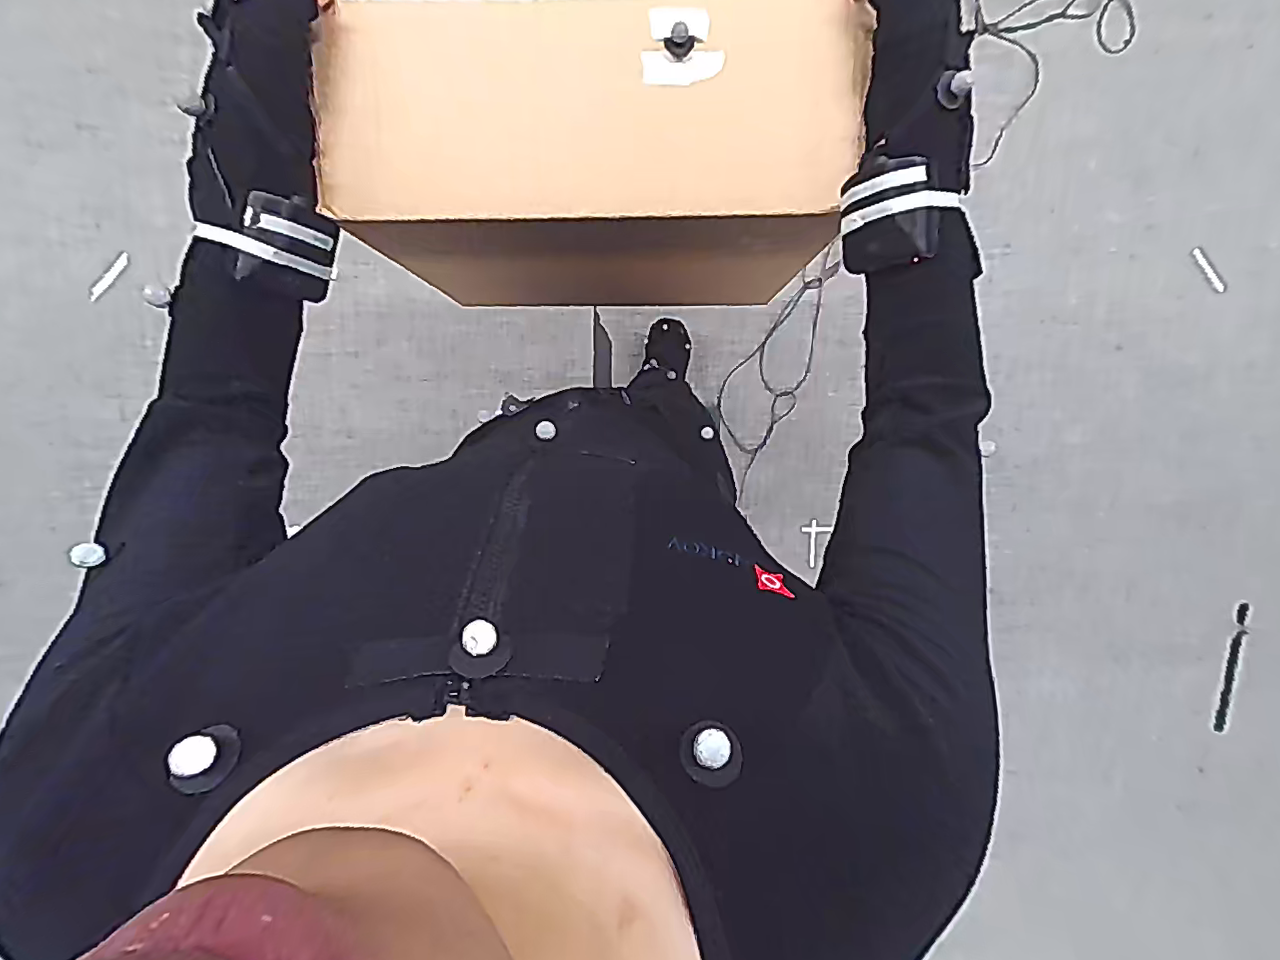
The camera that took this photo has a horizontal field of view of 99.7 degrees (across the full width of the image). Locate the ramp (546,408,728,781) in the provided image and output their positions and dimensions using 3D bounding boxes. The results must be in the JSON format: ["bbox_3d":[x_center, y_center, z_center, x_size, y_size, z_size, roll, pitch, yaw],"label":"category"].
[{"bbox_3d":[-0.010,0.301,1.466,0.509,0.206,0.991,-2,98,2],"label":"ramp"}]

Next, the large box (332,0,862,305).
[{"bbox_3d":[-0.033,-0.374,0.551,0.408,0.320,0.320,-1,96,0],"label":"large box"}]
